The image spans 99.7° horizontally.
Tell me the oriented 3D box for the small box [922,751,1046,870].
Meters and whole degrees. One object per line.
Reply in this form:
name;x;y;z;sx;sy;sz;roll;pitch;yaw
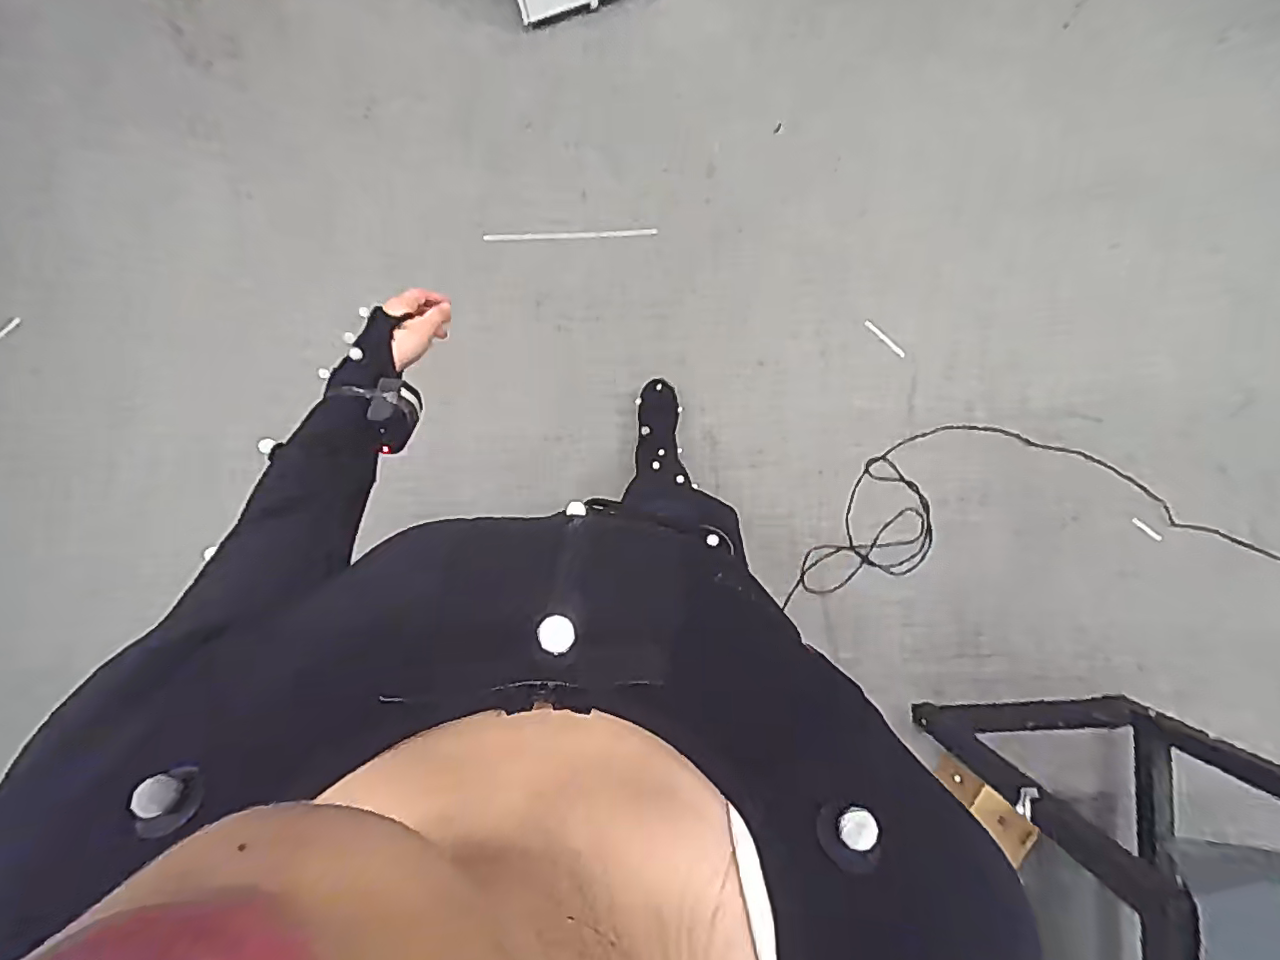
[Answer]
small box;0.872;0.835;1.391;0.179;0.176;0.168;31;89;-1
